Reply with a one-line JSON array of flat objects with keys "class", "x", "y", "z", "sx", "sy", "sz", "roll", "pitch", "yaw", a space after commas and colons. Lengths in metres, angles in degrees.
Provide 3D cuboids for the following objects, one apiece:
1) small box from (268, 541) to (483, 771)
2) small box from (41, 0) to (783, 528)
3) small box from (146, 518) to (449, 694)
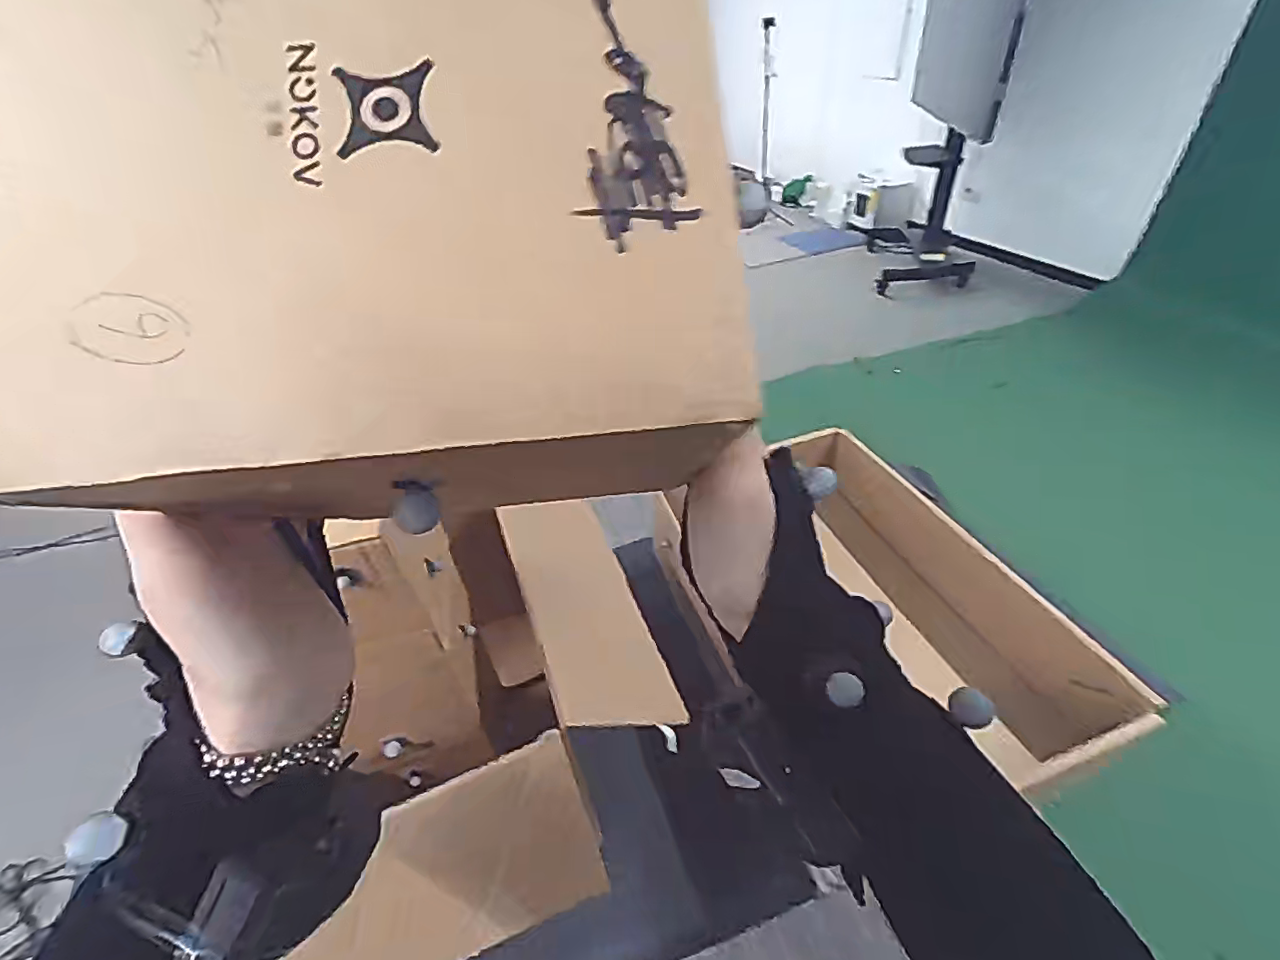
[{"class": "small box", "x": -0.288, "y": 0.199, "z": 0.629, "sx": 0.168, "sy": 0.176, "sz": 0.179, "roll": -14, "pitch": 42, "yaw": -11}, {"class": "small box", "x": -0.058, "y": -0.069, "z": 0.213, "sx": 0.179, "sy": 0.168, "sz": 0.176, "roll": -5, "pitch": -4, "yaw": -1}, {"class": "small box", "x": -0.298, "y": 0.078, "z": 0.522, "sx": 0.179, "sy": 0.176, "sz": 0.168, "roll": -13, "pitch": 41, "yaw": -10}]
